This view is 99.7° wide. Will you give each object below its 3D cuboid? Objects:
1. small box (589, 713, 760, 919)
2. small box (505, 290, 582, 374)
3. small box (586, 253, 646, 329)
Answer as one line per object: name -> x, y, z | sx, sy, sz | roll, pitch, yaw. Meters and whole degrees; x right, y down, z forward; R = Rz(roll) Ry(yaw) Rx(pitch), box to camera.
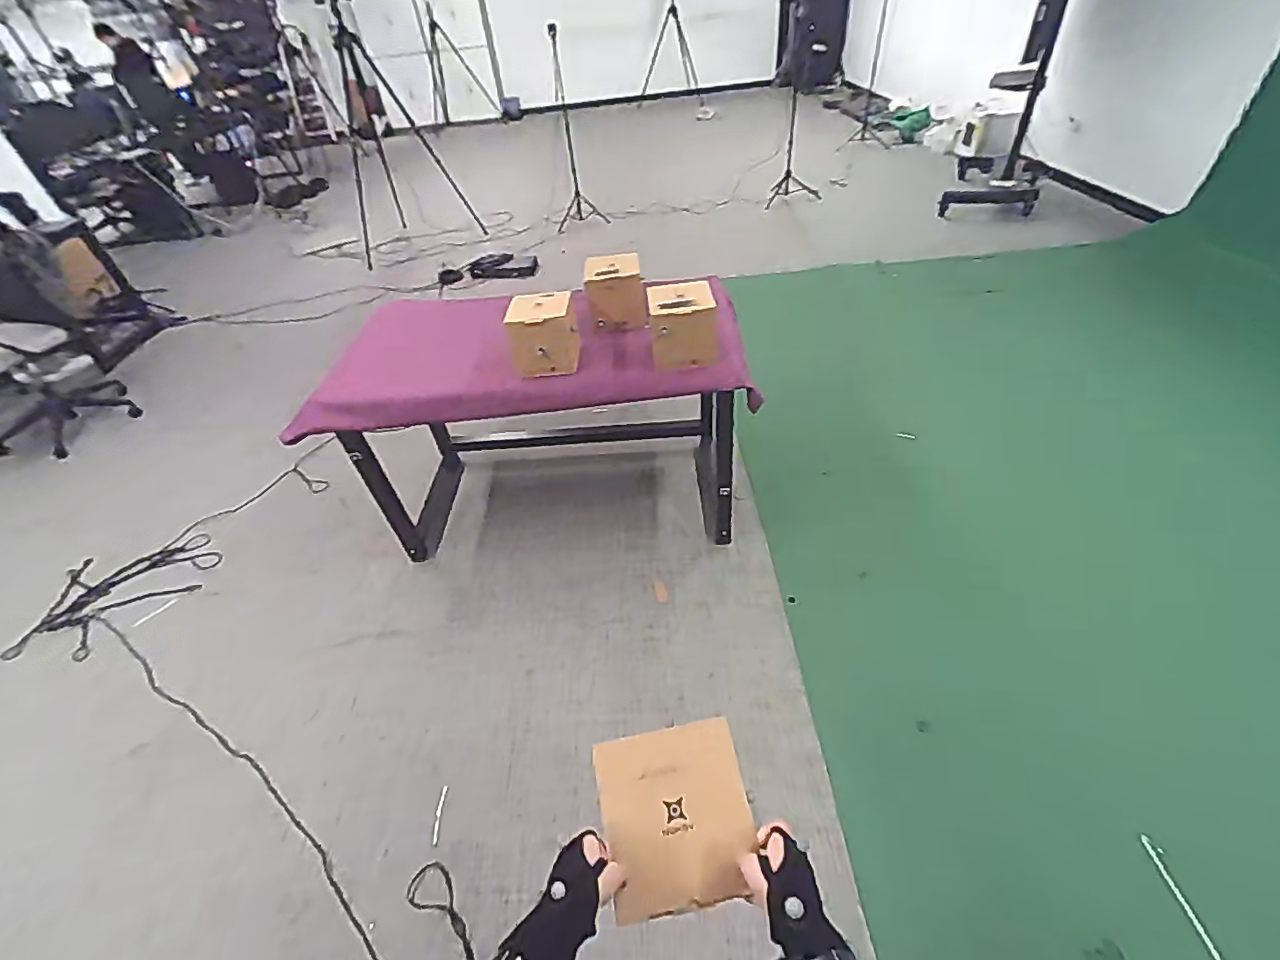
small box -> 0.035, 0.398, 0.670 | 0.168, 0.176, 0.179 | -10, 65, -4
small box -> -0.259, -0.405, 1.499 | 0.168, 0.176, 0.179 | -4, 42, 3
small box -> -0.070, -0.576, 1.661 | 0.168, 0.176, 0.179 | -5, 42, 2
